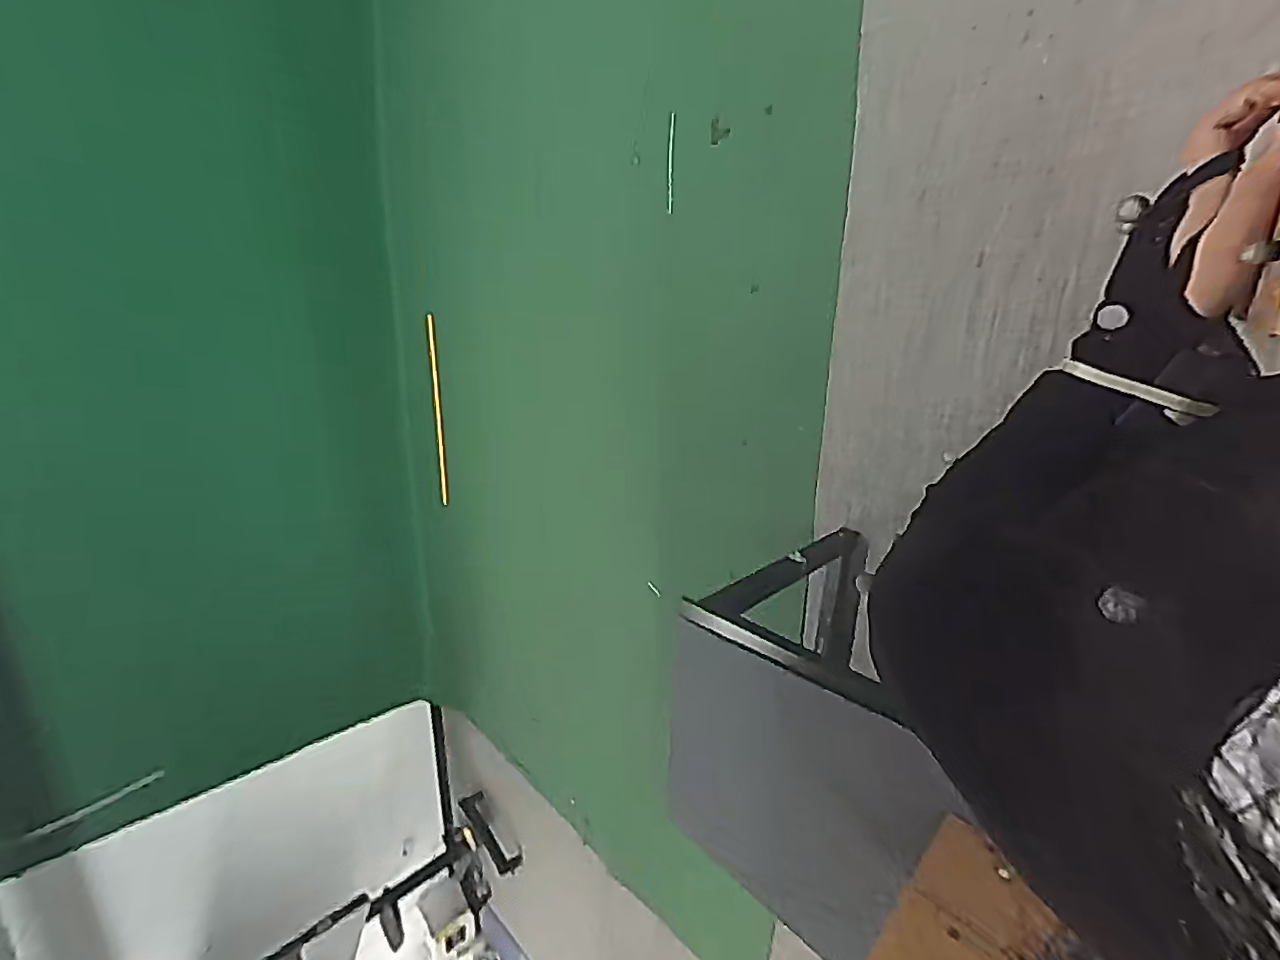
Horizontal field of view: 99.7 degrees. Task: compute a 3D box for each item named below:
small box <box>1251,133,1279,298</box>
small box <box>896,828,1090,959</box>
[{"bbox_3d":[0.397,-0.169,0.222,0.168,0.176,0.179,11,114,41],"label":"small box"},{"bbox_3d":[0.452,0.613,0.701,0.168,0.176,0.179,19,113,43],"label":"small box"}]
